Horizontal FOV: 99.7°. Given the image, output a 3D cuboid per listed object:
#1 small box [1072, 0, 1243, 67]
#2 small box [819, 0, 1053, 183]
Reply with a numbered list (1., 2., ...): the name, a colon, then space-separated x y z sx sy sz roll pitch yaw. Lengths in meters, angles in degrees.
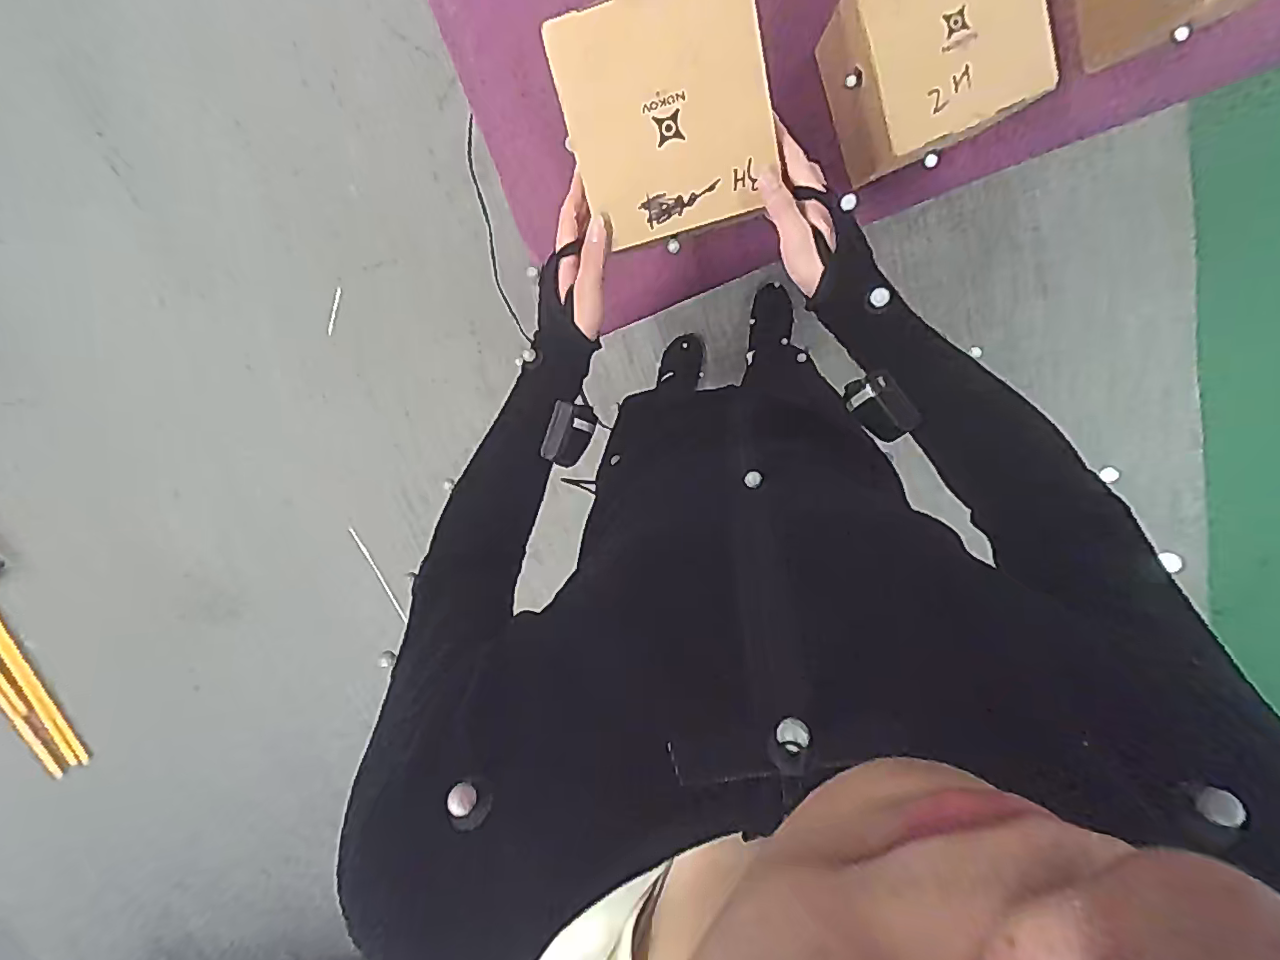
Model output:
1. small box: 0.591 -0.591 0.566 0.168 0.176 0.179 -20 106 10
2. small box: 0.322 -0.478 0.622 0.168 0.176 0.179 -20 106 11
